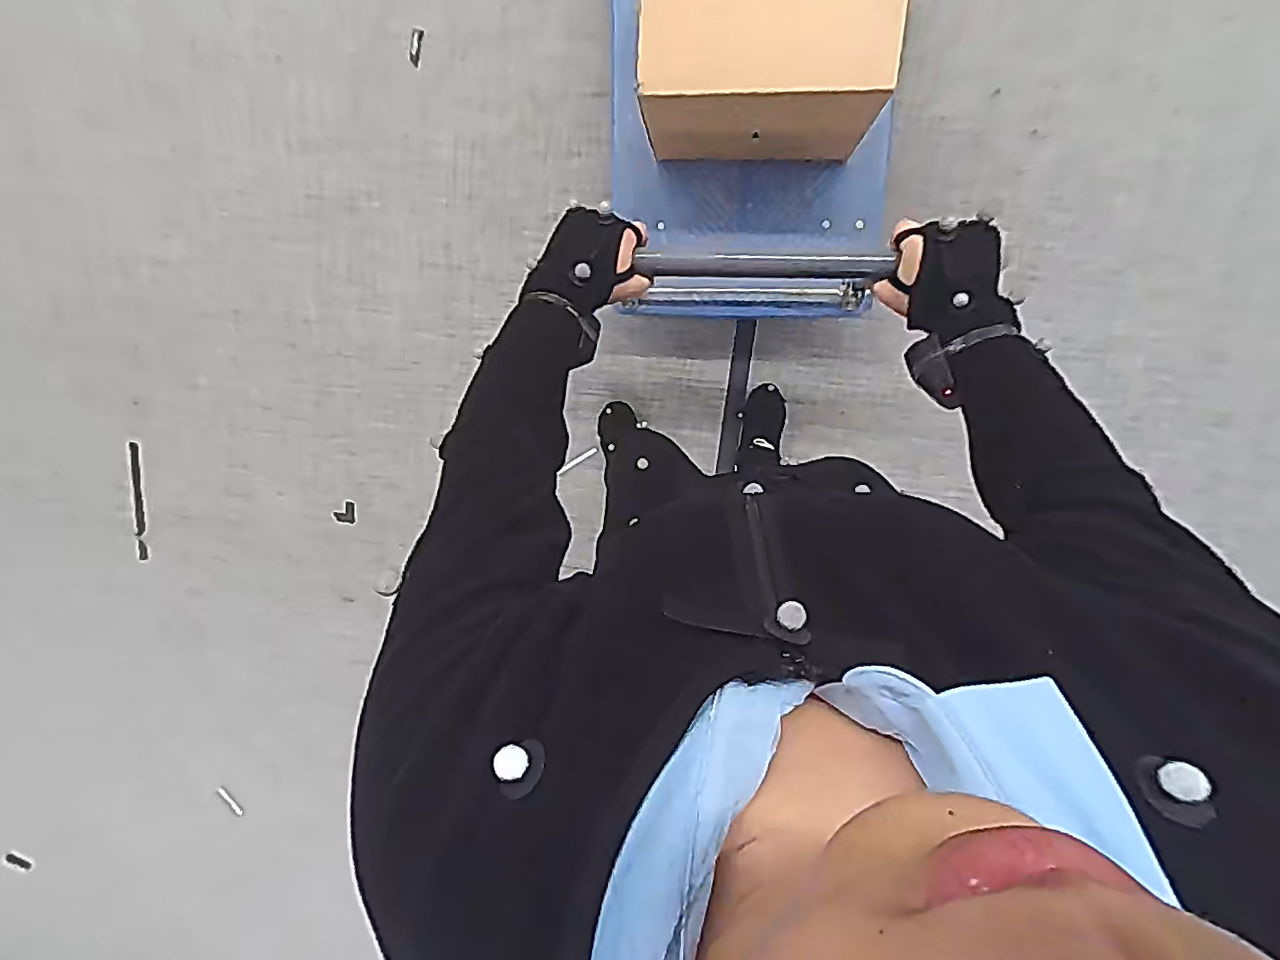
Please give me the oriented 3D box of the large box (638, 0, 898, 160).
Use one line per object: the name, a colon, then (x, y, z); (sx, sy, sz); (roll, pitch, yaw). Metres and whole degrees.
large box: (0.221, -0.804, 0.984); (0.408, 0.320, 0.320); (4, 102, 8)
